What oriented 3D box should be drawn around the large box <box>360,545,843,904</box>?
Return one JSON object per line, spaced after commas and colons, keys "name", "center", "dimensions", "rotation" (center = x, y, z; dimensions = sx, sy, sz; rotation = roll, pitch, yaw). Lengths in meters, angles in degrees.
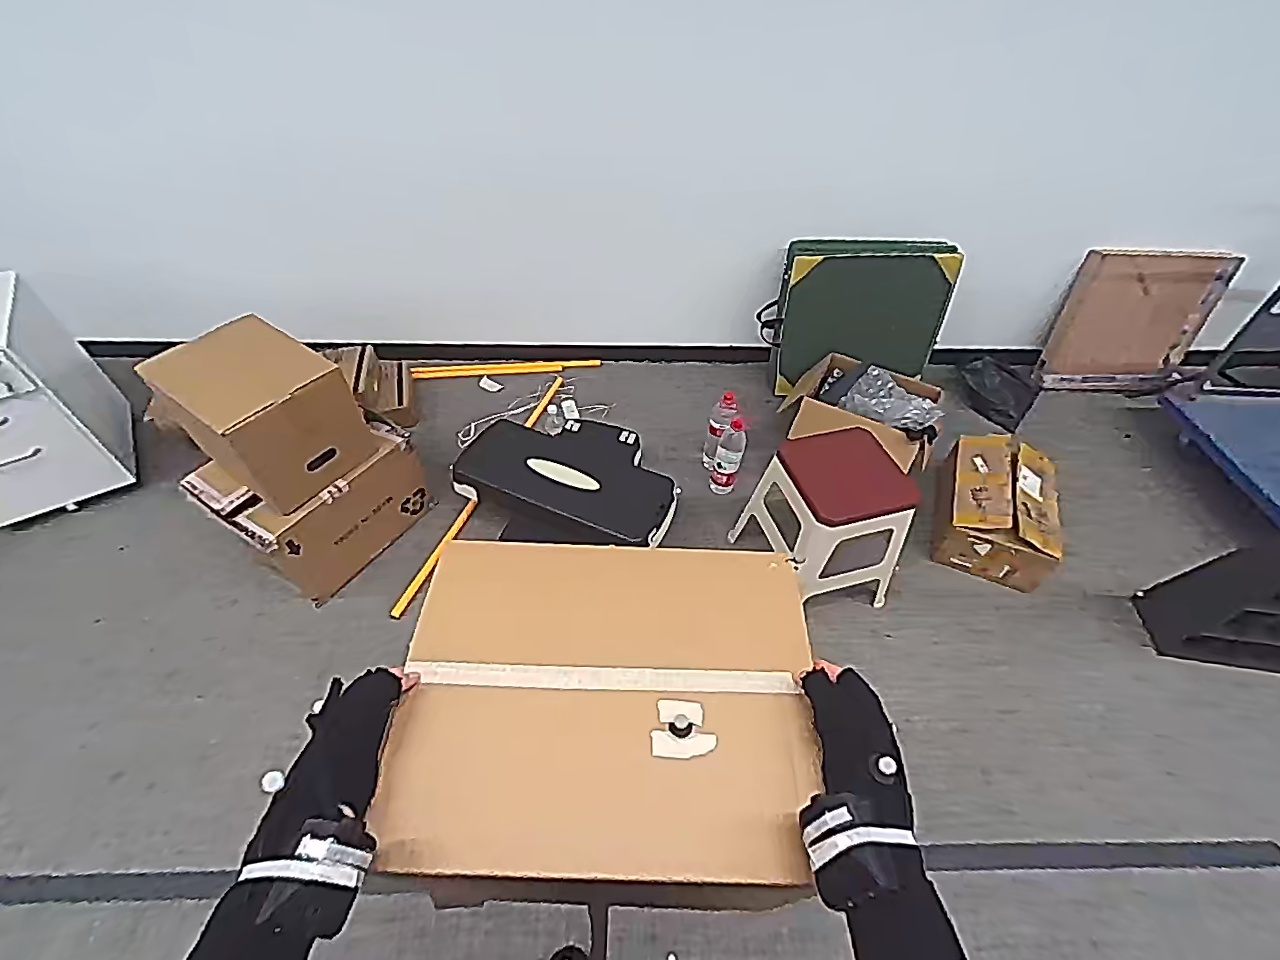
{"name": "large box", "center": [-0.034, 0.296, 0.646], "dimensions": [0.408, 0.320, 0.320], "rotation": [3, 49, -1]}
